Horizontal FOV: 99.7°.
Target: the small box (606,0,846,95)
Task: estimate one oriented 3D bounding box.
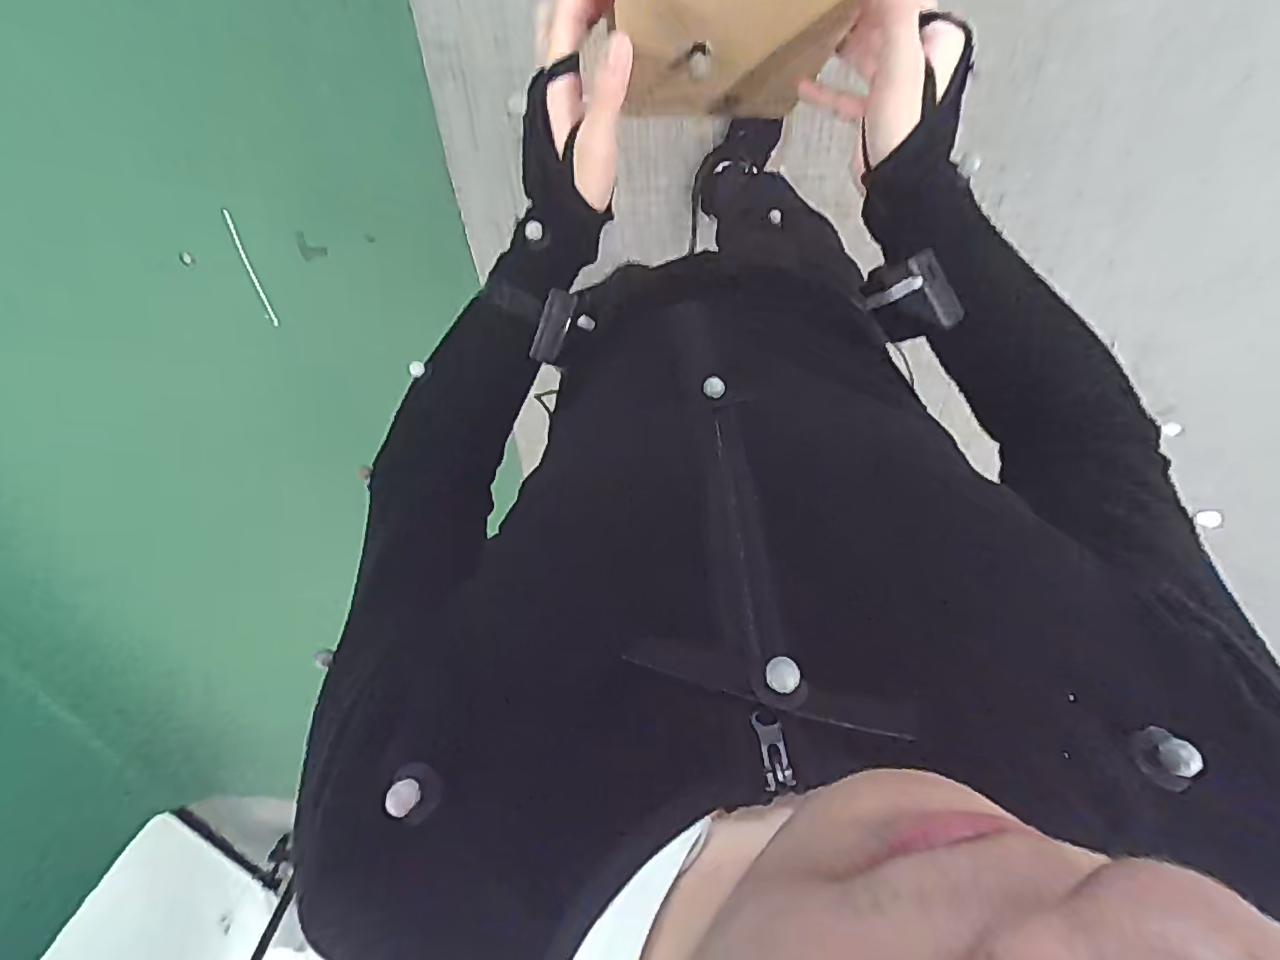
[{"bbox_3d":[0.060,-0.403,0.379,0.168,0.176,0.179,-4,99,-4],"label":"small box"}]
